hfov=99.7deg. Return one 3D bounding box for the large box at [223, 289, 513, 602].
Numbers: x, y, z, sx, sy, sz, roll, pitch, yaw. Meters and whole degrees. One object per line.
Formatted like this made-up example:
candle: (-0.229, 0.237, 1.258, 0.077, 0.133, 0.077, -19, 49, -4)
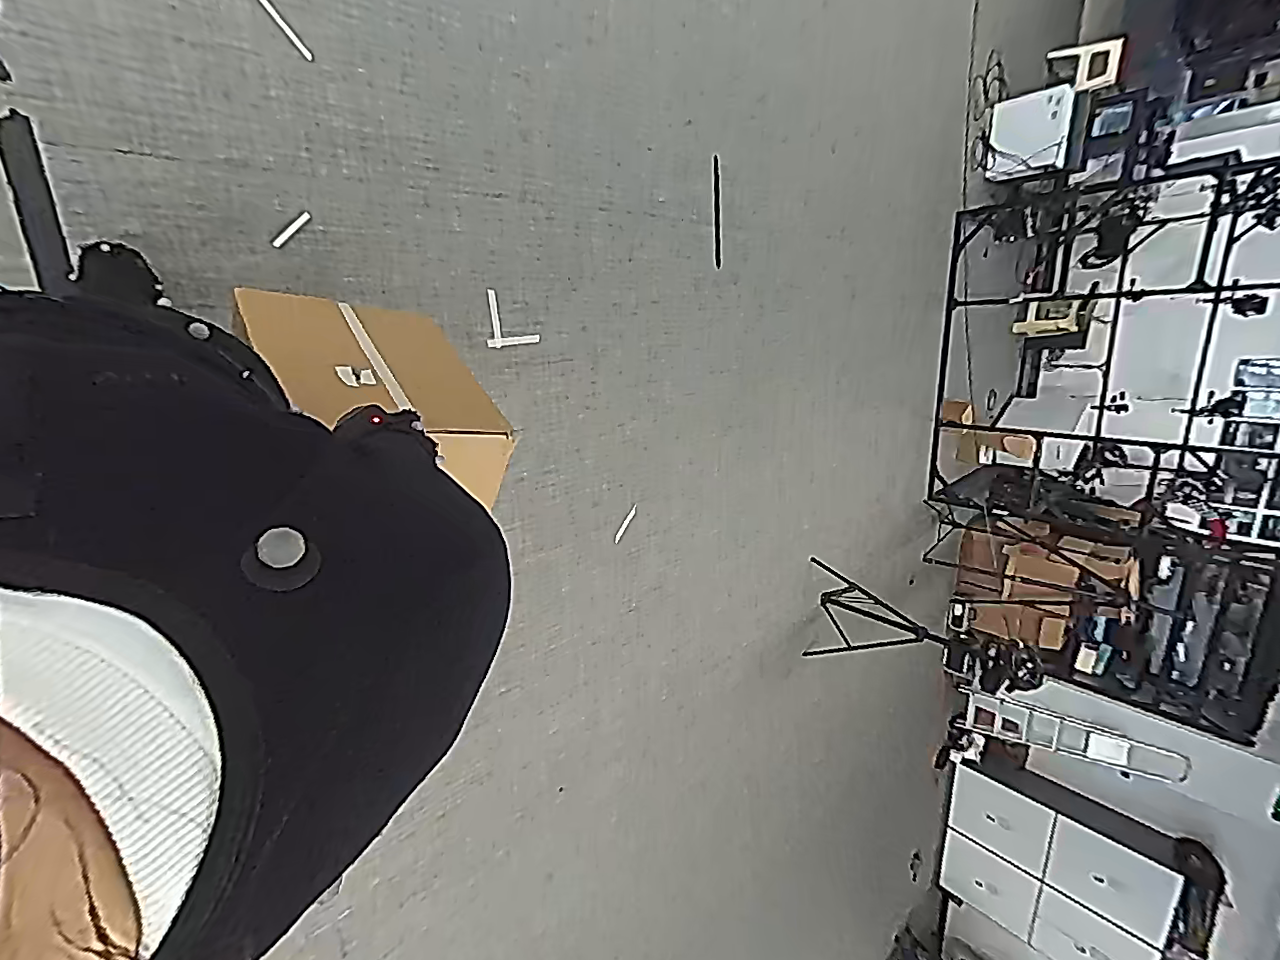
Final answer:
large box: (-0.480, -0.066, 0.917, 0.320, 0.408, 0.320, -4, 132, -43)
